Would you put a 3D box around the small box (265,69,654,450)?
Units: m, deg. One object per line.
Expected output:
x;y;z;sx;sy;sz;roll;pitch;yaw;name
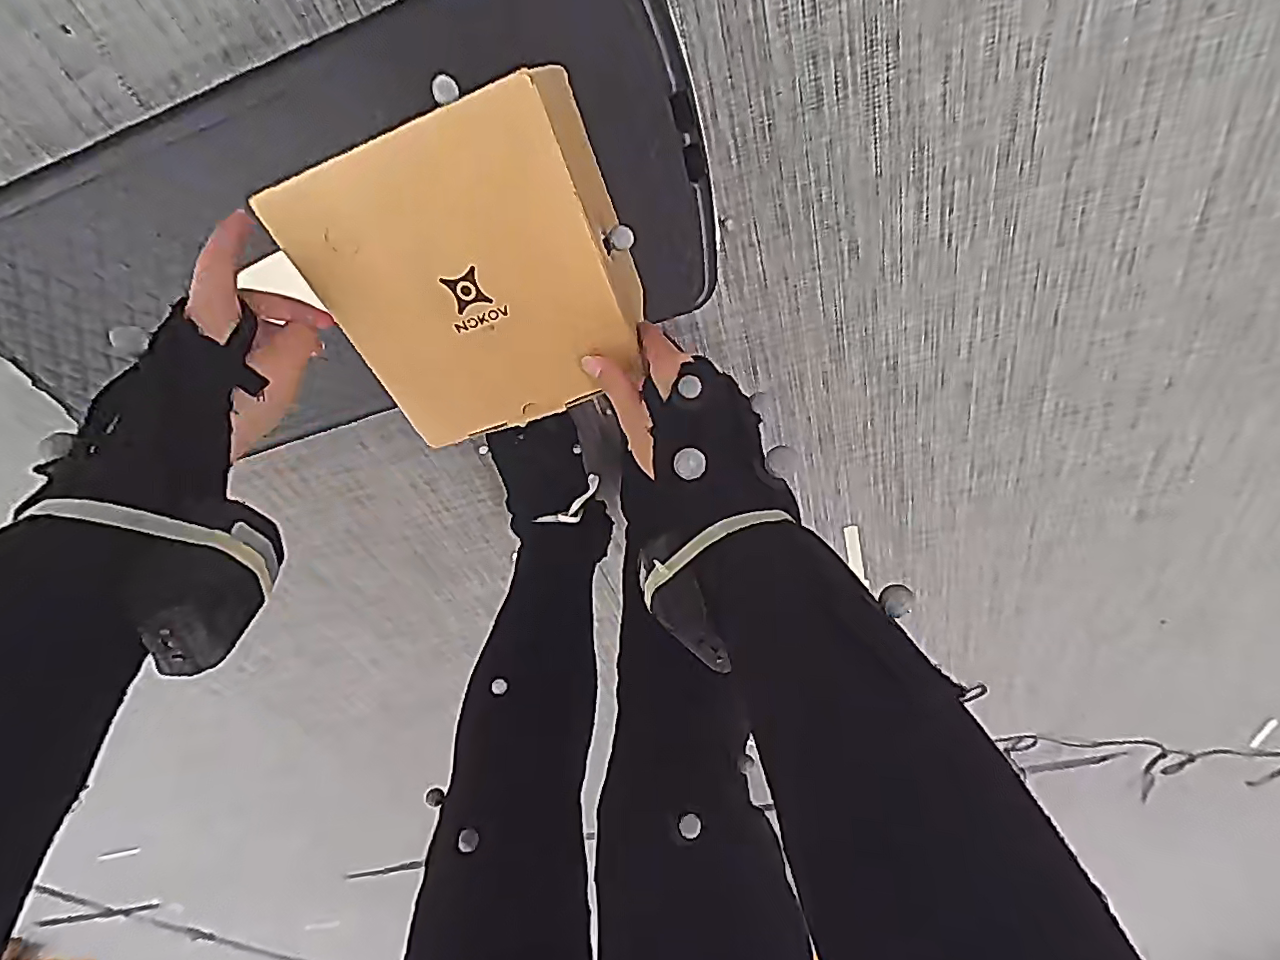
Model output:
-0.098;-0.156;0.381;0.168;0.176;0.179;-17;128;10;small box
